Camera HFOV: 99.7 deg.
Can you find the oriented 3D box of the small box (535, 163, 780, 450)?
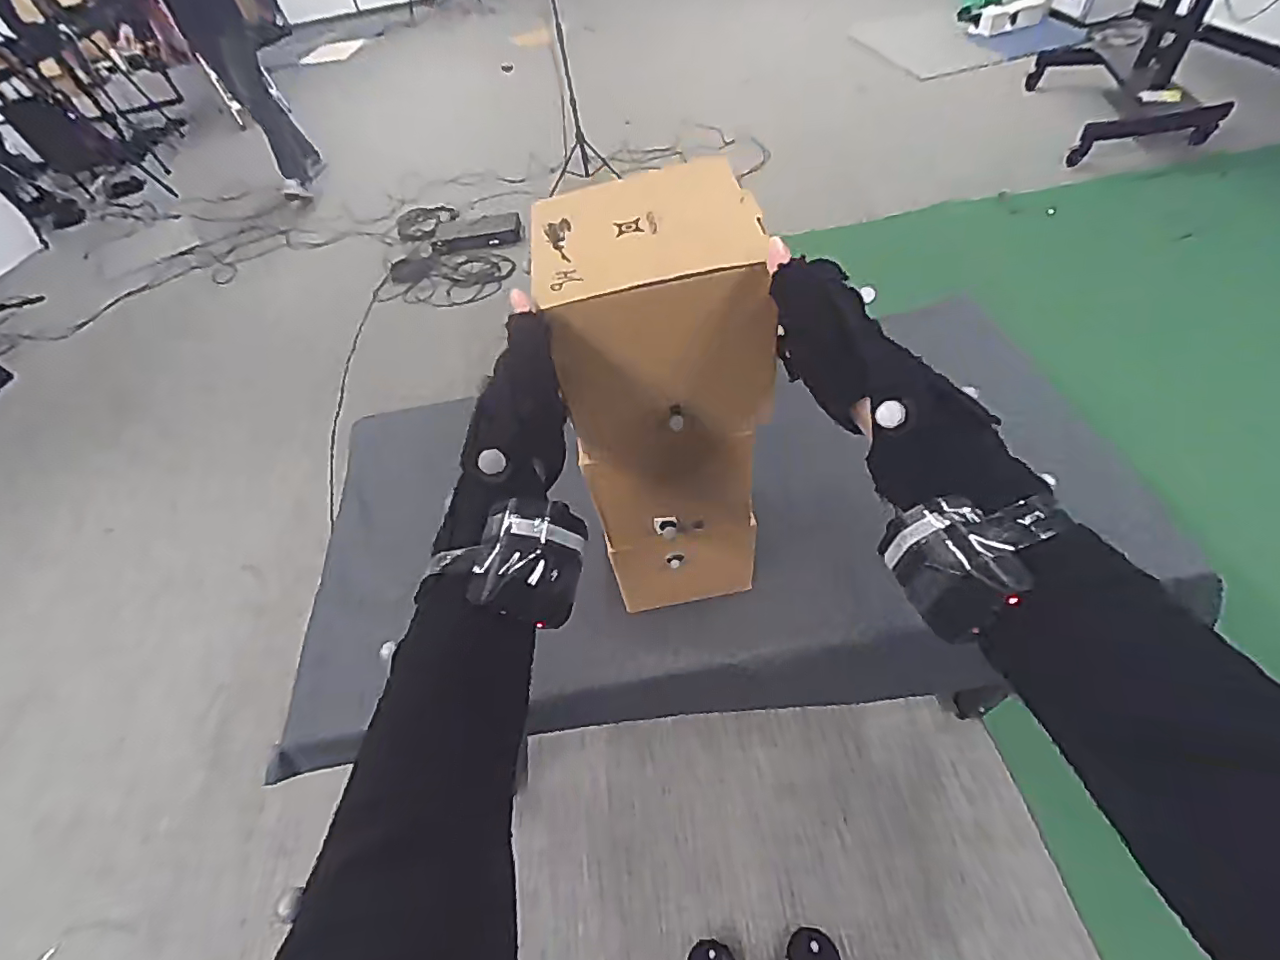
[{"bbox_3d":[0.014,-0.149,0.486,0.179,0.176,0.168,-10,50,2],"label":"small box"}]

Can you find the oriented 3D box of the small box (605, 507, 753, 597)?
[{"bbox_3d":[0.049,0.046,0.745,0.179,0.176,0.168,-11,52,0],"label":"small box"}]

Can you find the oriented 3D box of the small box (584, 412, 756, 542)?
[{"bbox_3d":[0.029,-0.054,0.620,0.168,0.176,0.179,-11,53,3],"label":"small box"}]
